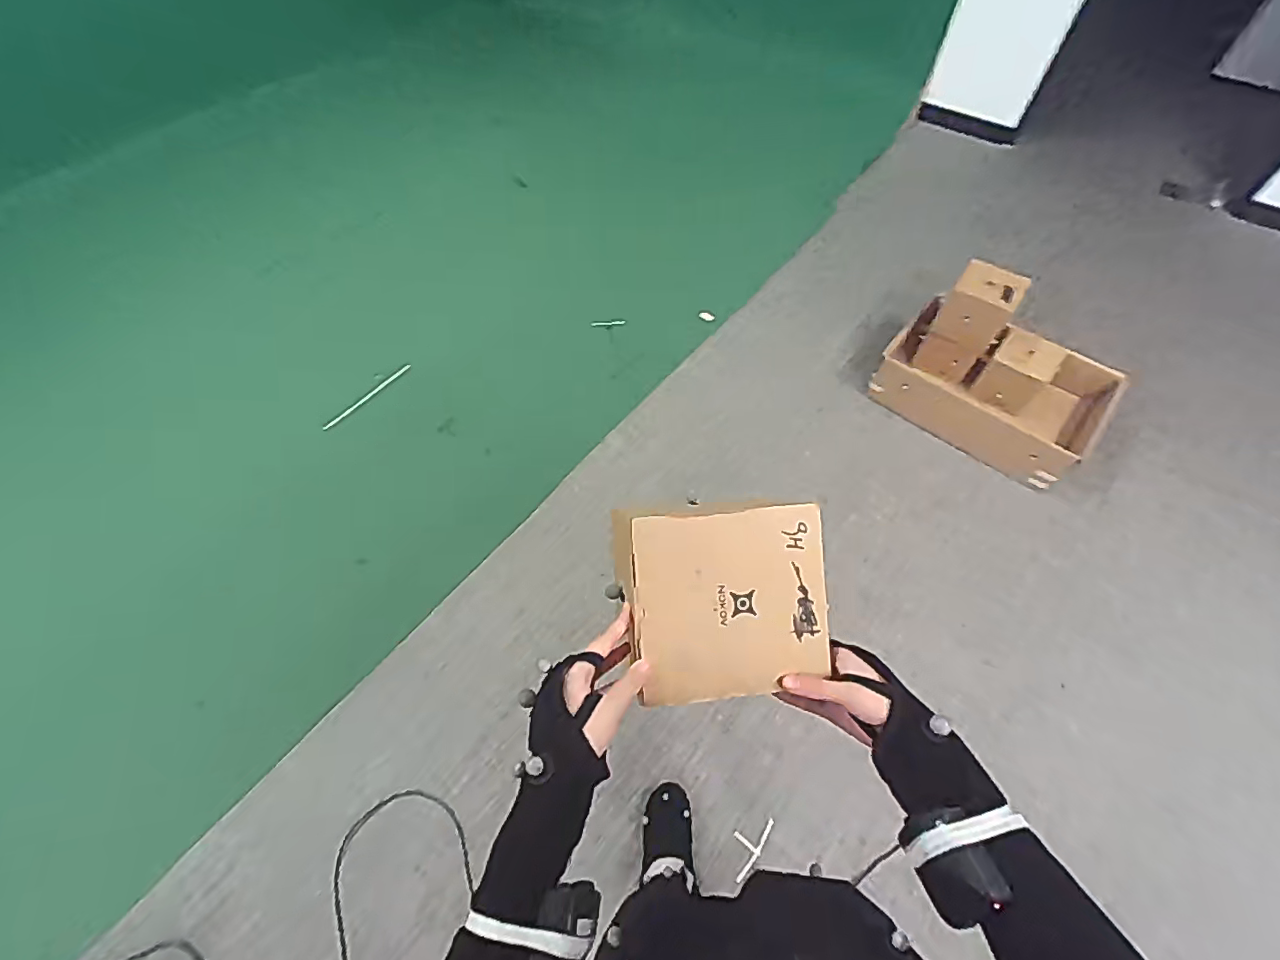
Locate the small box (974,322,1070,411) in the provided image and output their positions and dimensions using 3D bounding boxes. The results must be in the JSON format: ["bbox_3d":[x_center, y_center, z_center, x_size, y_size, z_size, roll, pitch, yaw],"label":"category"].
[{"bbox_3d":[1.198,-0.356,1.709,0.168,0.176,0.179,35,68,22],"label":"small box"}]

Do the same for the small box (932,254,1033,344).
[{"bbox_3d":[1.029,-0.539,1.634,0.179,0.176,0.168,32,66,20],"label":"small box"}]
